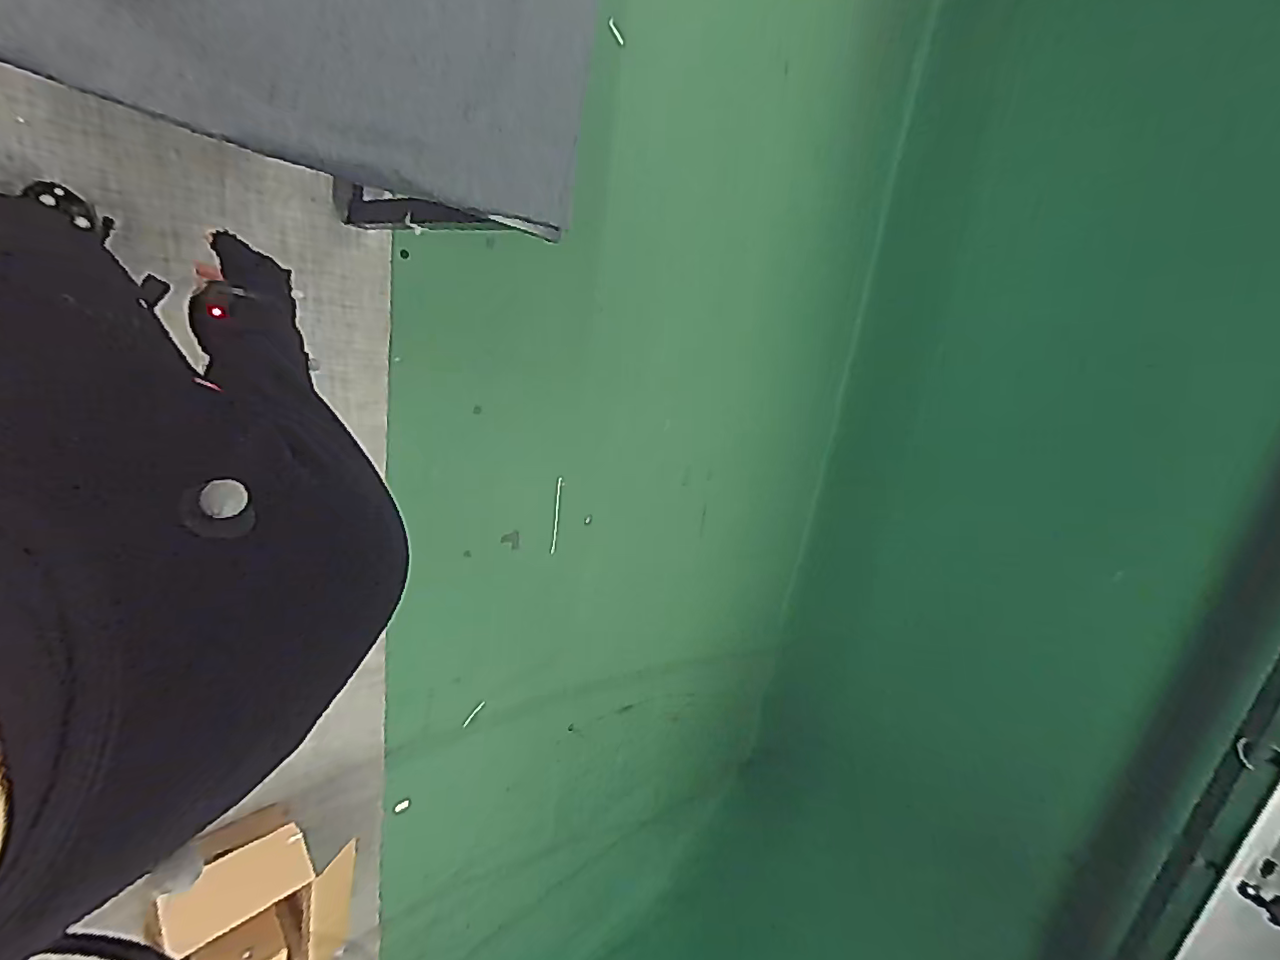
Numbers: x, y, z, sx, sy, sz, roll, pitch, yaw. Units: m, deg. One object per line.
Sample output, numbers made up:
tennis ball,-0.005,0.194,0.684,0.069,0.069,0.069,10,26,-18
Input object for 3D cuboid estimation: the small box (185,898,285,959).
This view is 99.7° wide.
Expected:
small box,-1.021,1.219,1.356,0.179,0.176,0.168,-4,110,-49
